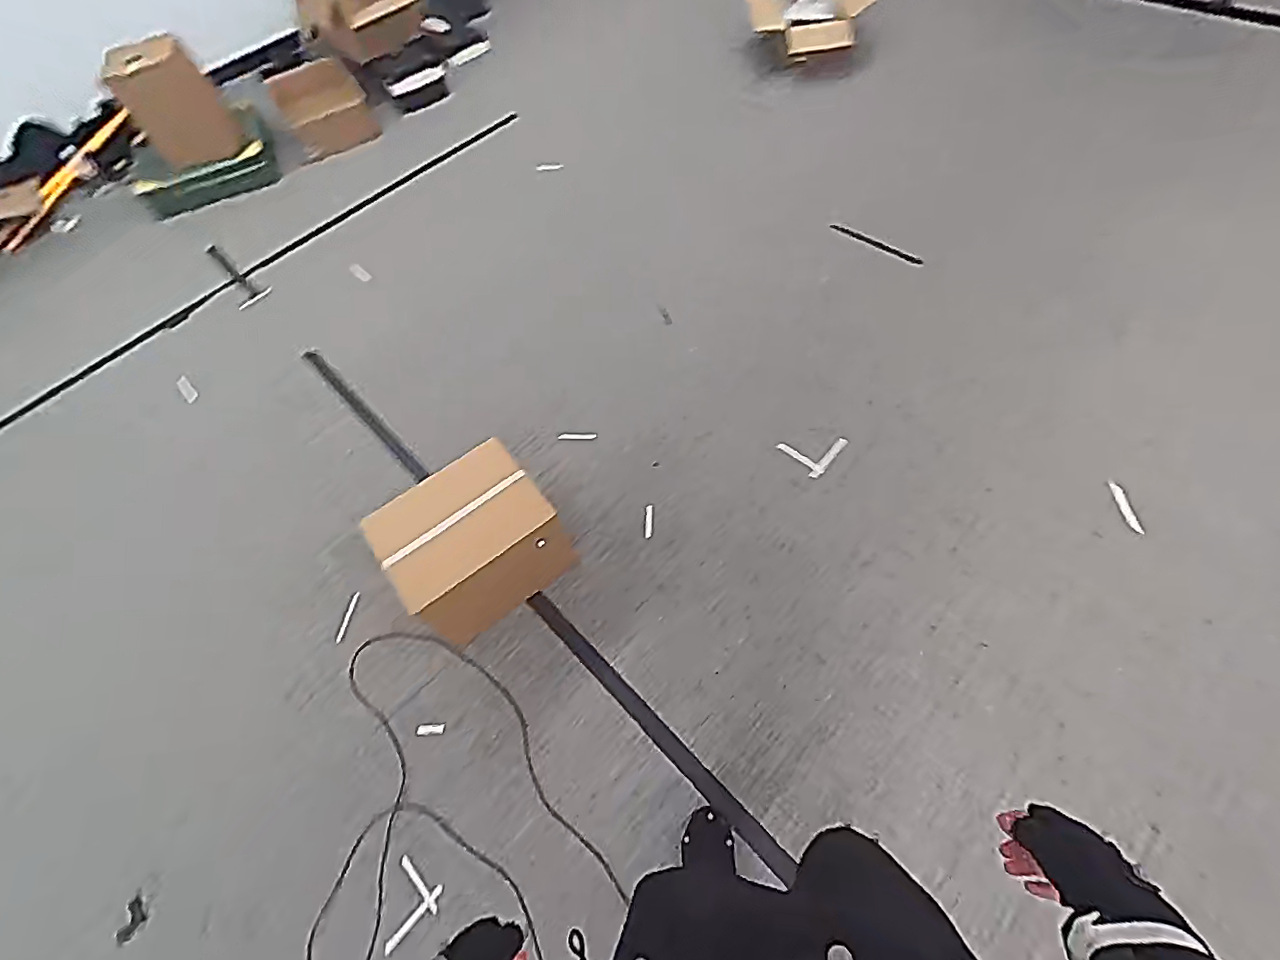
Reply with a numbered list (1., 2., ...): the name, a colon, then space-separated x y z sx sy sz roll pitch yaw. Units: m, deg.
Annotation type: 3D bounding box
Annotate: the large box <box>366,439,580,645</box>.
1. large box: -0.426 0.173 1.460 0.408 0.320 0.320 -36 63 -15
